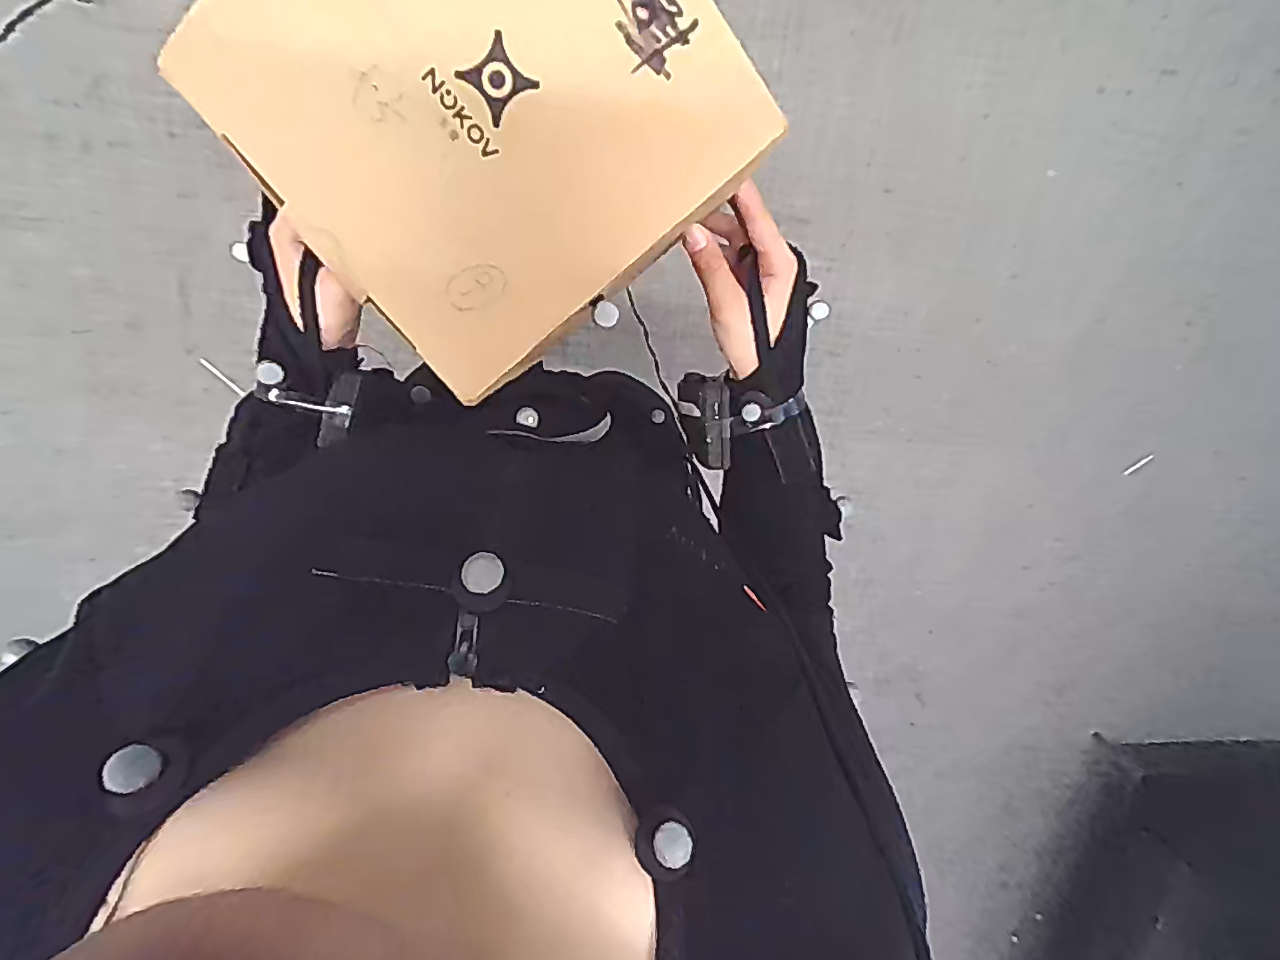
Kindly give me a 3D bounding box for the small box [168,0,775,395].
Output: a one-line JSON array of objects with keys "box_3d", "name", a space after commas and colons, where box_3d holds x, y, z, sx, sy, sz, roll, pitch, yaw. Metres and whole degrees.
[{"box_3d": [-0.061, -0.170, 0.281, 0.179, 0.176, 0.168, -37, 105, 11], "name": "small box"}]
